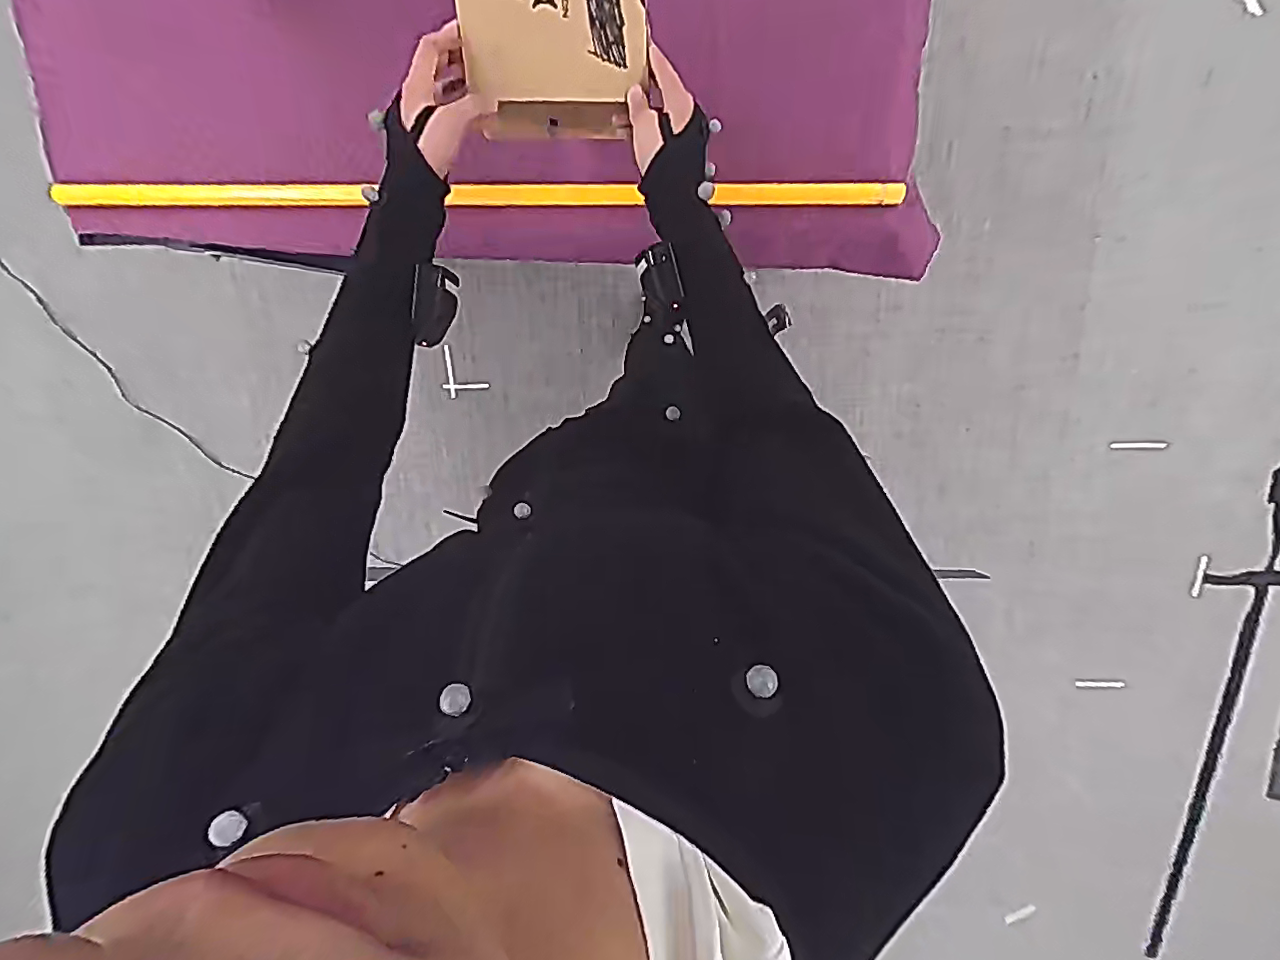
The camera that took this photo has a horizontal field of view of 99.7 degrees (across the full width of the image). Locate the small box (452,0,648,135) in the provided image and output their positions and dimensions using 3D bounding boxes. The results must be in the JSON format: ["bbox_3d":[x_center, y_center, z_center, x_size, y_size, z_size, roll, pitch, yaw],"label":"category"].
[{"bbox_3d":[-0.090,-0.467,0.552,0.179,0.176,0.168,-4,112,-6],"label":"small box"}]
